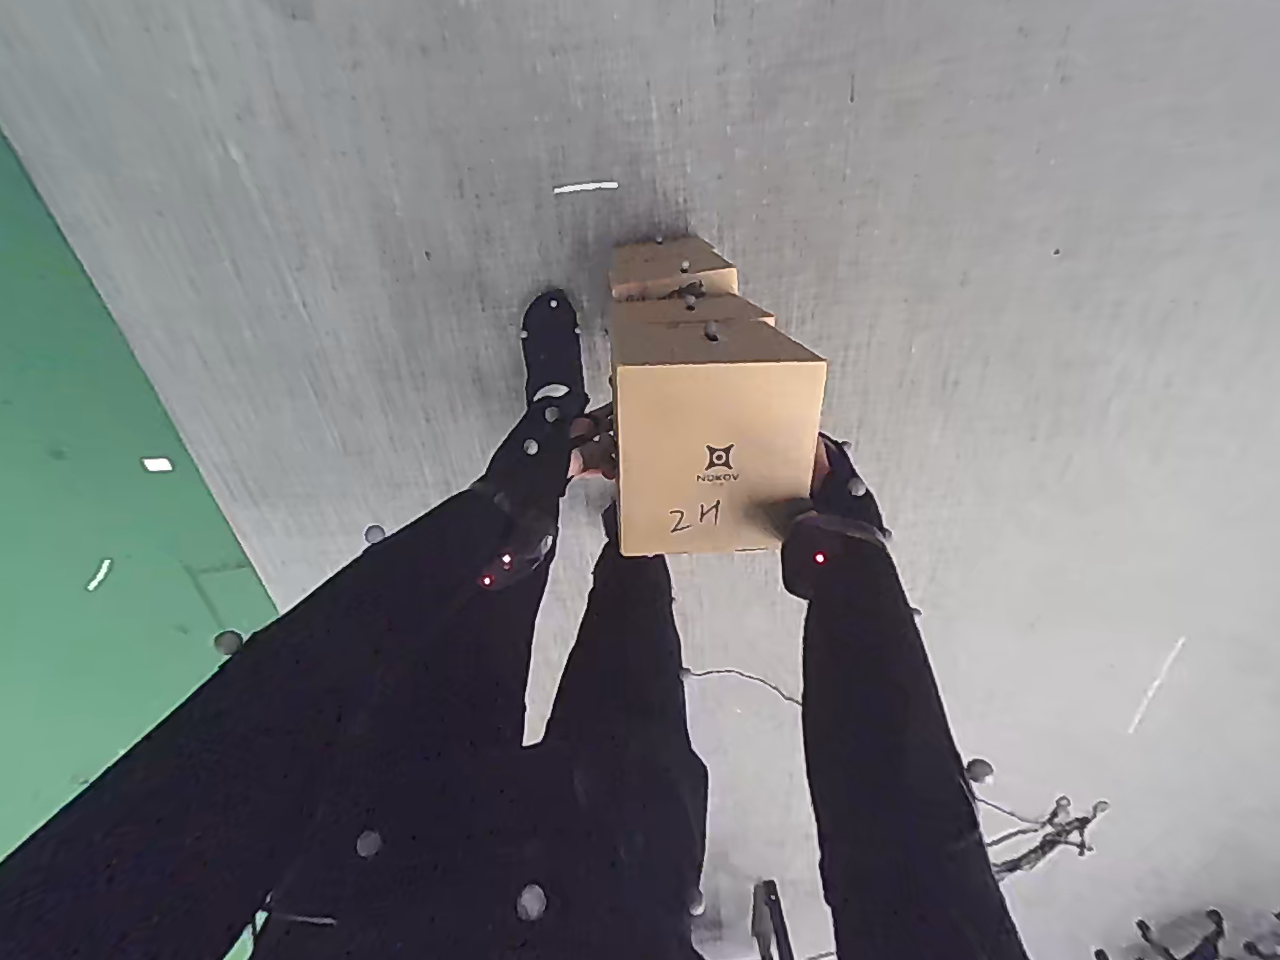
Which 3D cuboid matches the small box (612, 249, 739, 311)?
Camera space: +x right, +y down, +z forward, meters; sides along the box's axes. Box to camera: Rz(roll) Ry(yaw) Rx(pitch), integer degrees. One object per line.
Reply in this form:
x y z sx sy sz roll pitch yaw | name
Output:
0.051 -0.229 0.804 0.168 0.176 0.179 -9 121 0 | small box

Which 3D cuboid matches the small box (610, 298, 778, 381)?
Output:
0.055 -0.126 0.664 0.179 0.176 0.168 -4 116 -3 | small box

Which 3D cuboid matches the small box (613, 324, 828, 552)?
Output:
0.059 -0.050 0.518 0.168 0.176 0.179 -1 116 -3 | small box
